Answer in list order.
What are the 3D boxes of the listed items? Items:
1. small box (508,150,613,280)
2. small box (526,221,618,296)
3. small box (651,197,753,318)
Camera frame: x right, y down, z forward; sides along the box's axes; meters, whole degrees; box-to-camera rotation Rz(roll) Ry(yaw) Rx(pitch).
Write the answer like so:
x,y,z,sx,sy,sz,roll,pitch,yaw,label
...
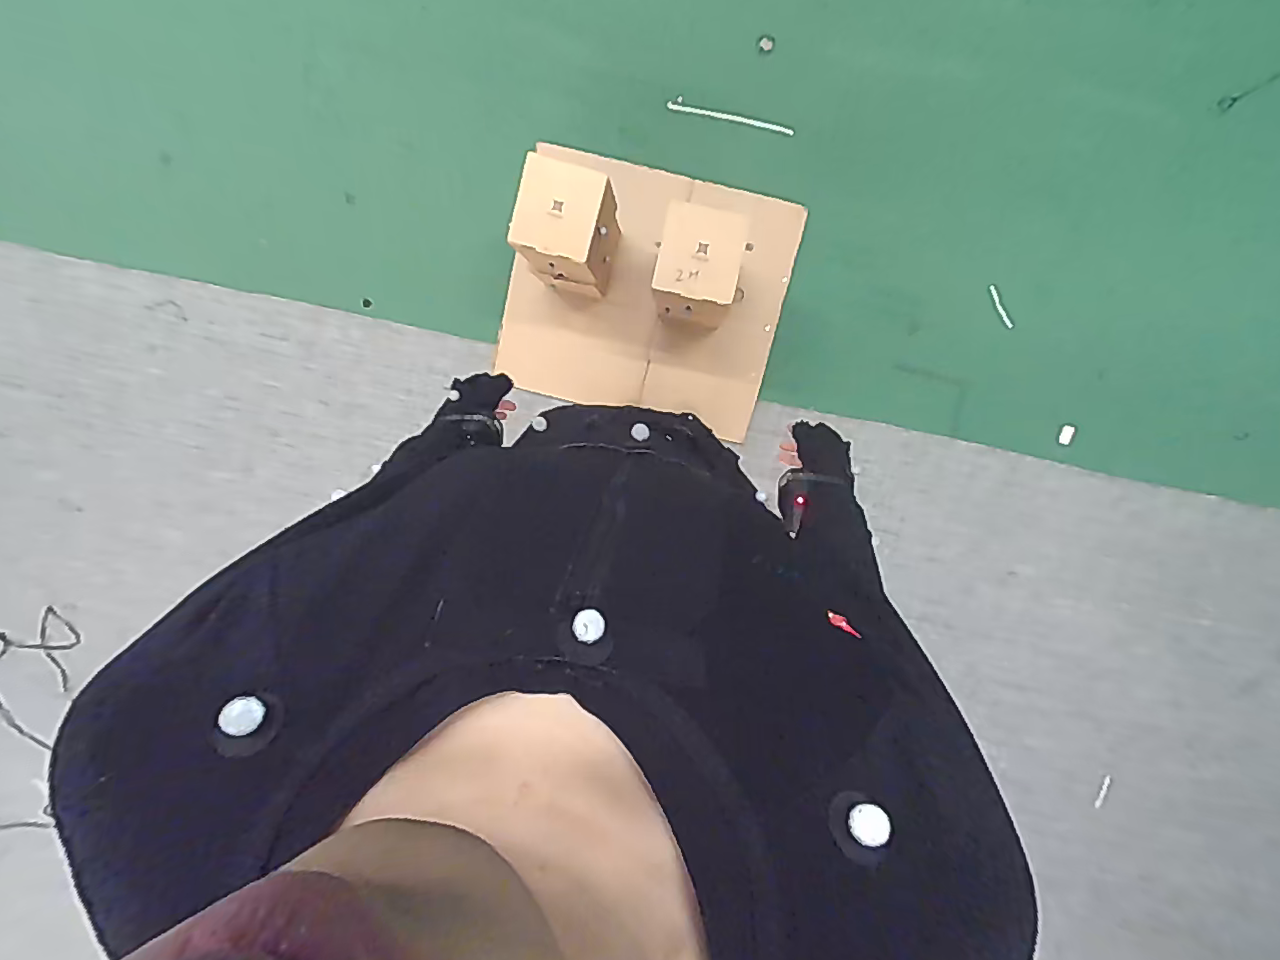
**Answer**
x,y,z,sx,sy,sz,roll,pitch,yaw,label
-0.157,-0.544,1.133,0.168,0.176,0.179,17,99,1,small box
-0.156,-0.557,1.296,0.168,0.176,0.179,16,98,1,small box
0.123,-0.454,1.130,0.168,0.176,0.179,14,98,2,small box
